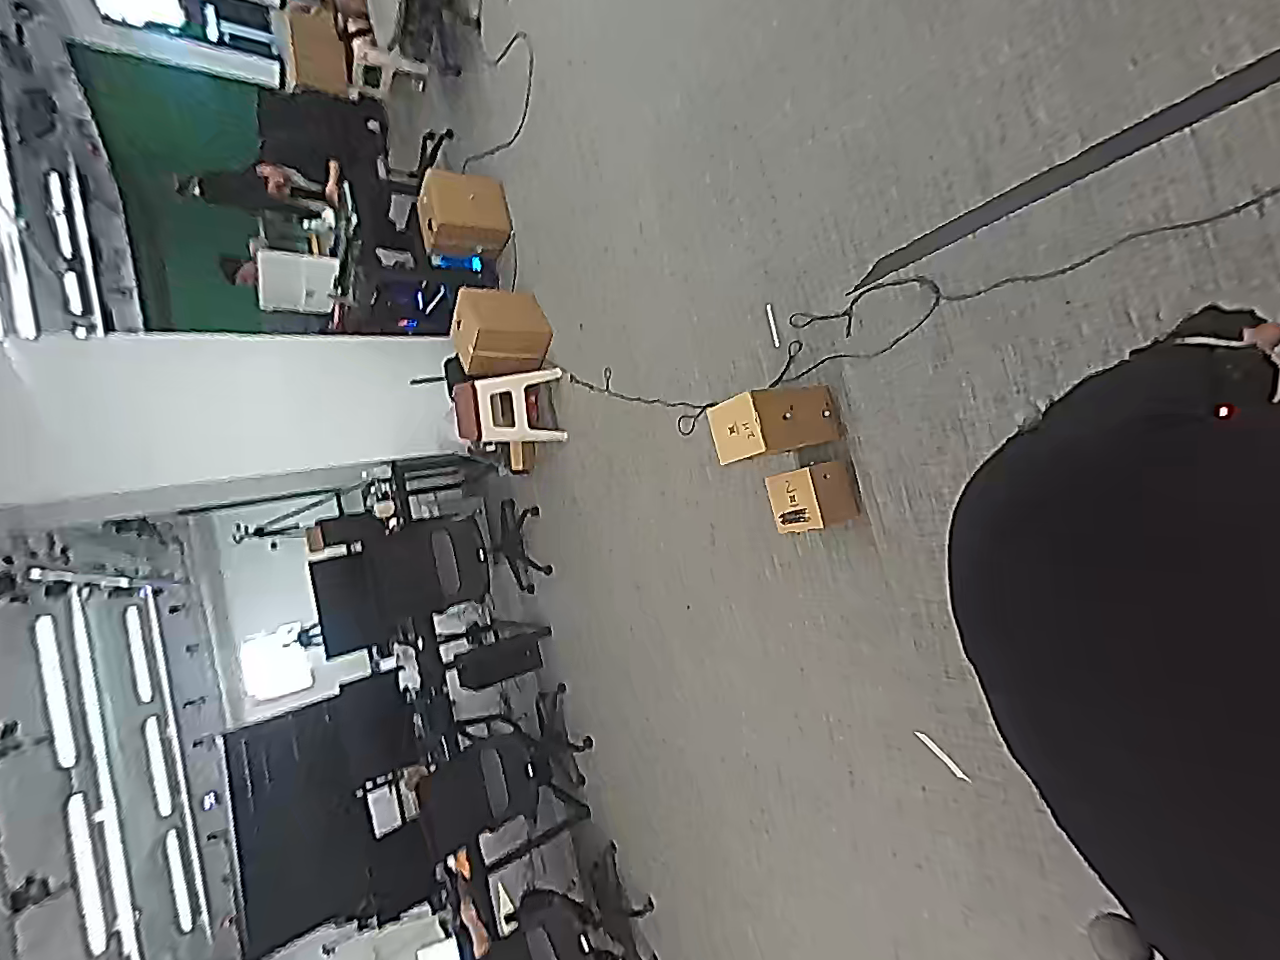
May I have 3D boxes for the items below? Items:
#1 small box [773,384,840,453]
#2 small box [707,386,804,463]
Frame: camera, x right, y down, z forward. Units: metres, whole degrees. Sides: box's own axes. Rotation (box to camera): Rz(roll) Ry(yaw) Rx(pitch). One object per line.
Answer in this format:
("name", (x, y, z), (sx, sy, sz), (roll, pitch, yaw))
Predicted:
("small box", (0.449, -0.175, 1.578), (0.179, 0.176, 0.168), (-17, 85, 54))
("small box", (0.317, -0.151, 1.482), (0.179, 0.176, 0.168), (-20, 83, 54))
